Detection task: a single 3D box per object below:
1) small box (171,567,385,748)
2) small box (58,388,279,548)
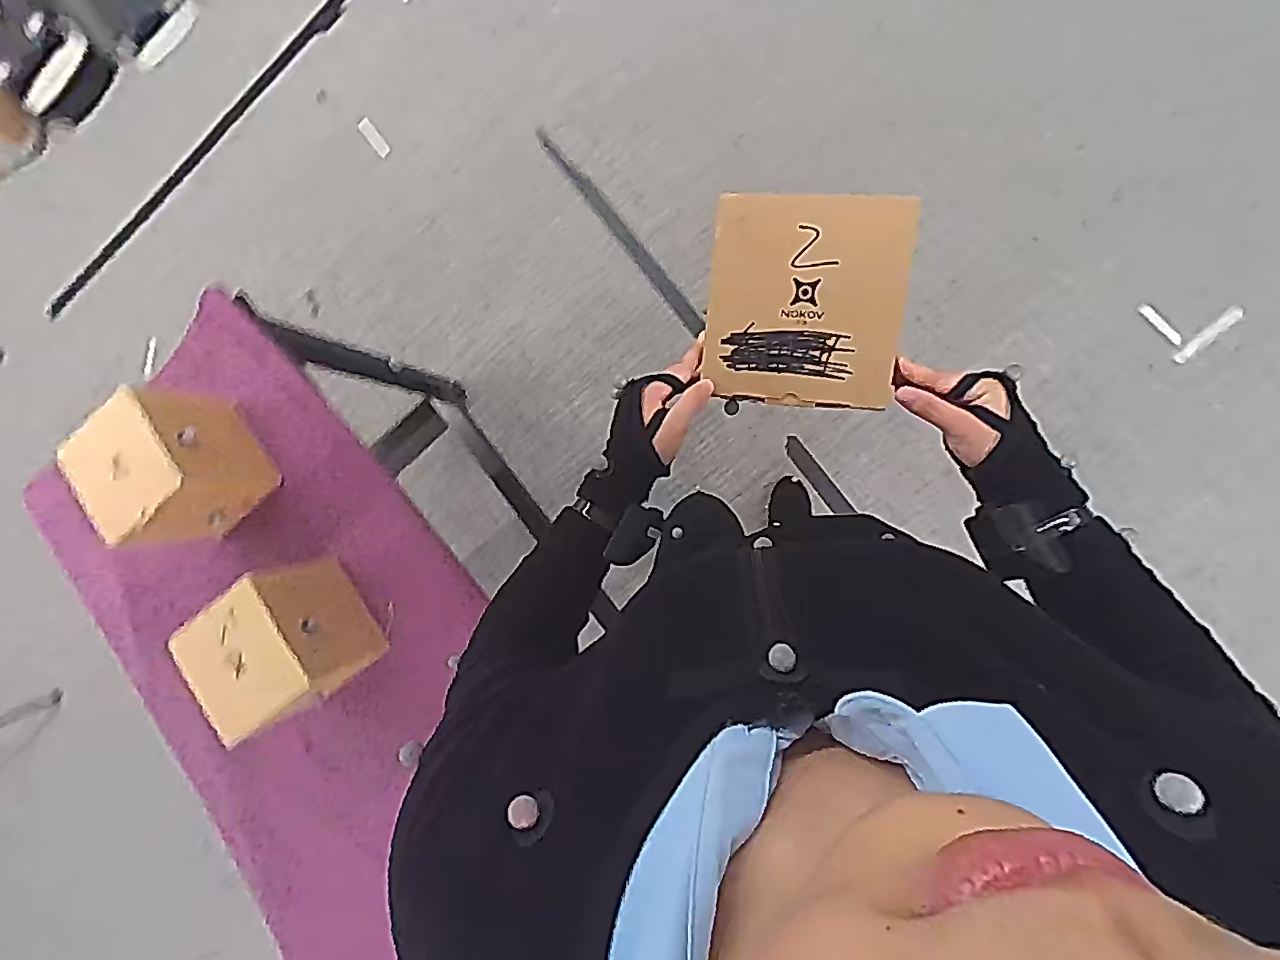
[{"bbox_3d":[-0.525,0.249,0.808,0.168,0.176,0.179,-37,82,8],"label":"small box"},{"bbox_3d":[-0.727,-0.015,0.850,0.168,0.176,0.179,-37,84,9],"label":"small box"}]
